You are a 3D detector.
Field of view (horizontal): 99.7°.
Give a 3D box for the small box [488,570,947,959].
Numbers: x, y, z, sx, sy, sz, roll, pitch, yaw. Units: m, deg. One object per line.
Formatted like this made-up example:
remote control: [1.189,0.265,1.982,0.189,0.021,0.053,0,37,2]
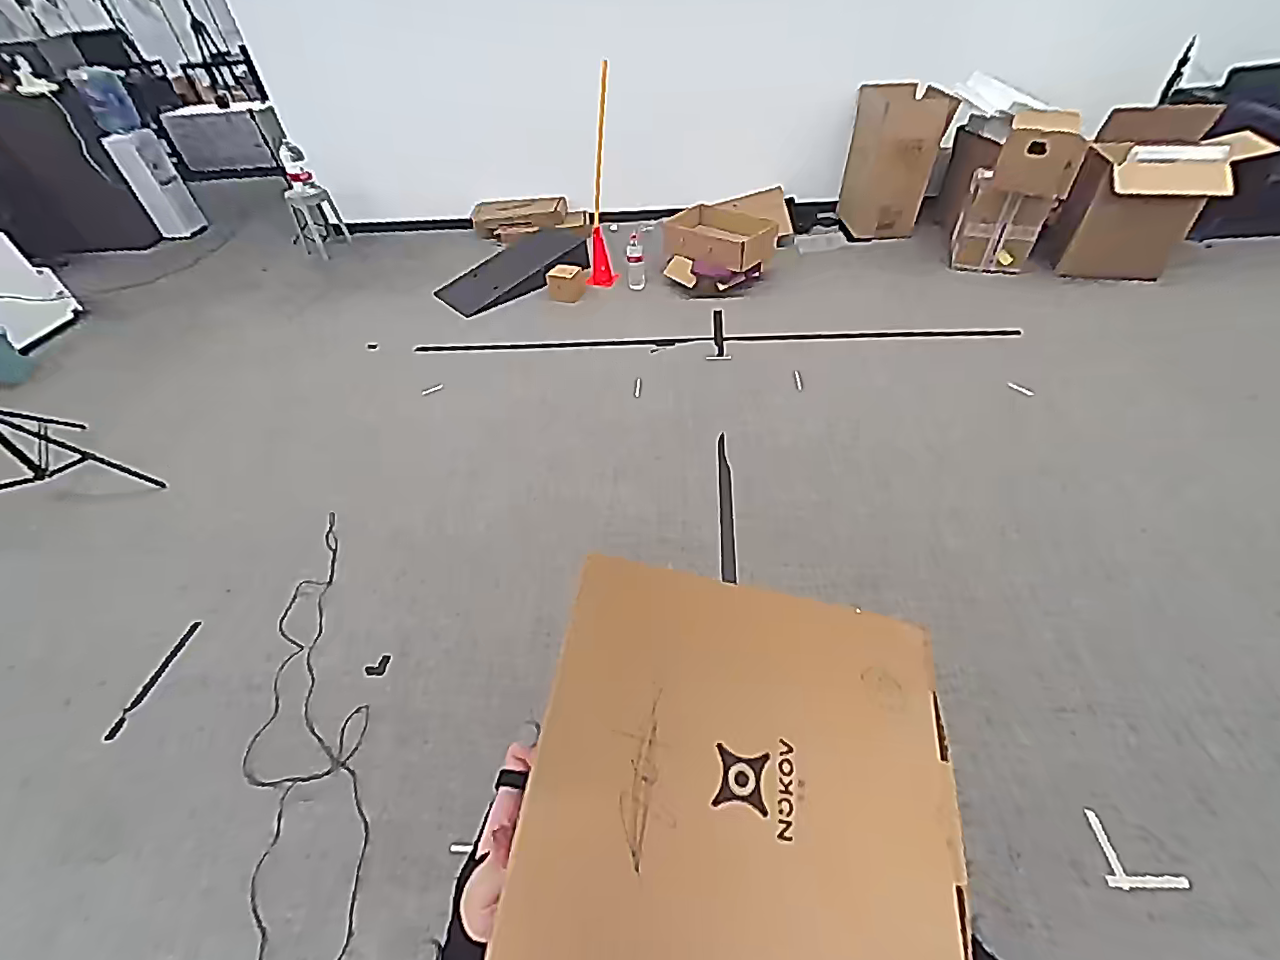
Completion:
small box: [0.030,0.170,0.297,0.179,0.176,0.168,12,57,-2]
